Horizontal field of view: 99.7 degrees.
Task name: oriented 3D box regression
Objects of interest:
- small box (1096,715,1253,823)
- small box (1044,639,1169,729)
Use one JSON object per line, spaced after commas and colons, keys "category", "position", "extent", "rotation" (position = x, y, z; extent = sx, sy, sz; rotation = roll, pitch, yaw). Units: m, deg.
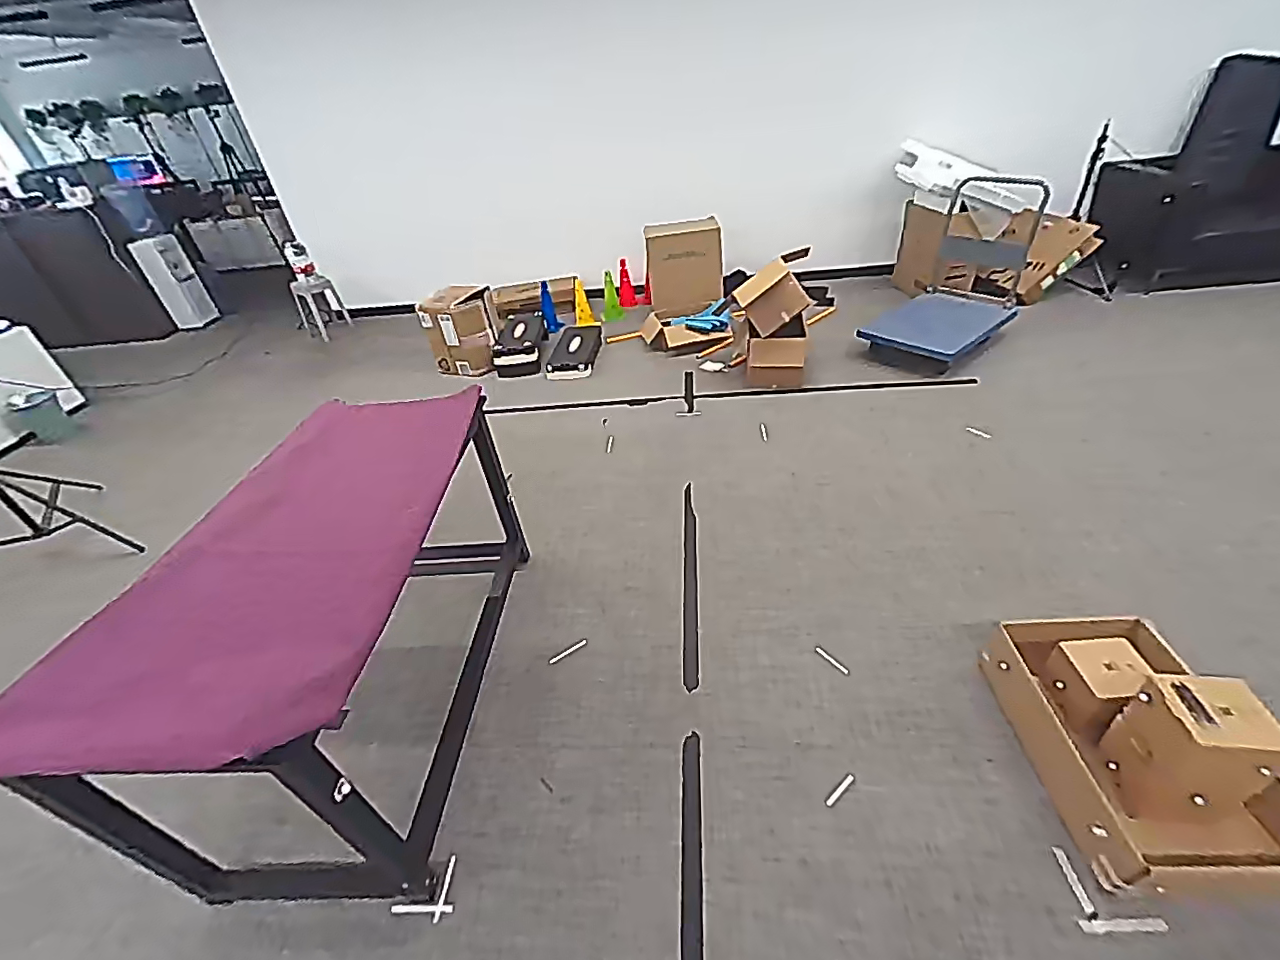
{"category": "small box", "position": [1.231, 0.676, 1.265], "extent": [0.179, 0.176, 0.168], "rotation": [-1, 35, 9]}
{"category": "small box", "position": [1.218, 0.544, 1.435], "extent": [0.179, 0.176, 0.168], "rotation": [-4, 38, 4]}
